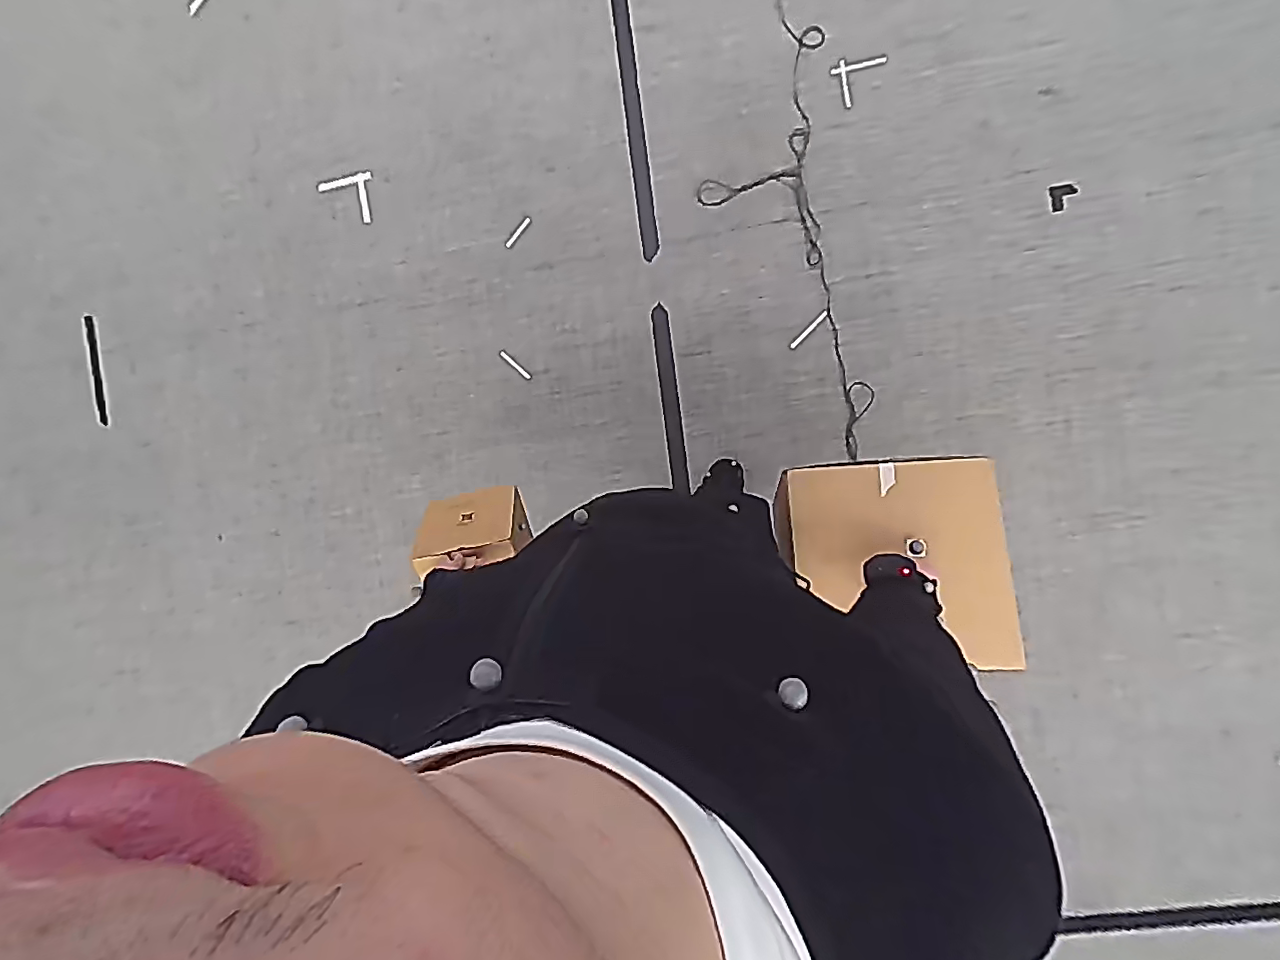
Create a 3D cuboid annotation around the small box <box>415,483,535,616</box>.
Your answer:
[{"bbox_3d":[-0.293,0.134,1.004,0.168,0.179,0.176,-11,123,-3],"label":"small box"}]
